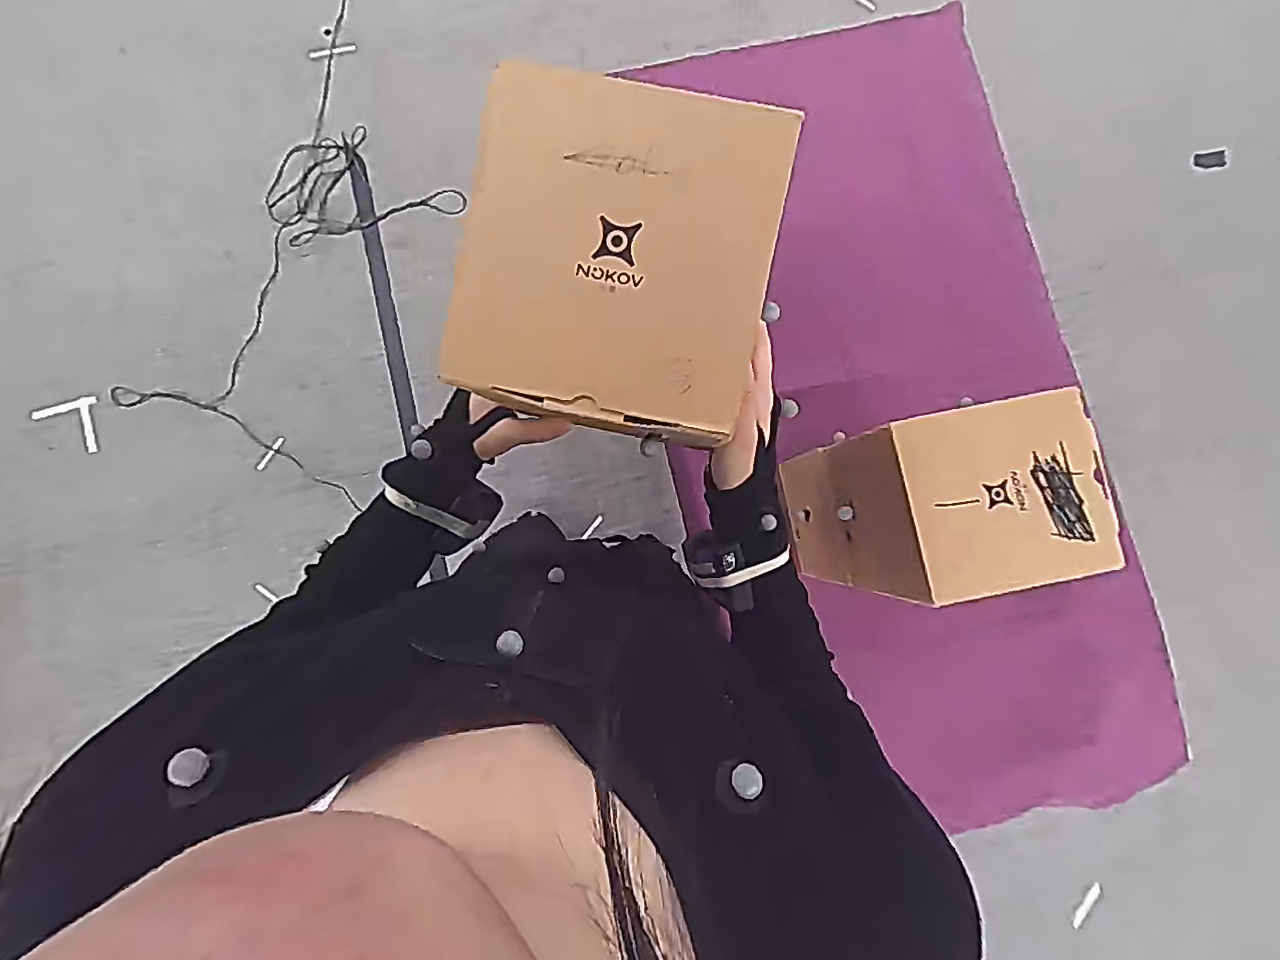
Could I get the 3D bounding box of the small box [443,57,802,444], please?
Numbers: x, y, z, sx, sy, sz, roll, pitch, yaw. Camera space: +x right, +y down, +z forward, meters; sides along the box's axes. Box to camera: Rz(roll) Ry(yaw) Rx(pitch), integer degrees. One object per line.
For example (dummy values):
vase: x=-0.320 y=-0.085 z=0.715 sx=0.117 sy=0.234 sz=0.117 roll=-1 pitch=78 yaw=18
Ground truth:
small box: x=-0.009 y=-0.124 z=0.365 sx=0.168 sy=0.176 sz=0.179 roll=11 pitch=90 yaw=1

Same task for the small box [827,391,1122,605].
small box: x=0.319 y=0.020 z=0.552 sx=0.179 sy=0.176 sz=0.168 roll=-11 pitch=85 yaw=-3

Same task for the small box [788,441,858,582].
small box: x=0.308 y=0.035 z=0.715 sx=0.179 sy=0.176 sz=0.168 roll=-11 pitch=85 yaw=-3
